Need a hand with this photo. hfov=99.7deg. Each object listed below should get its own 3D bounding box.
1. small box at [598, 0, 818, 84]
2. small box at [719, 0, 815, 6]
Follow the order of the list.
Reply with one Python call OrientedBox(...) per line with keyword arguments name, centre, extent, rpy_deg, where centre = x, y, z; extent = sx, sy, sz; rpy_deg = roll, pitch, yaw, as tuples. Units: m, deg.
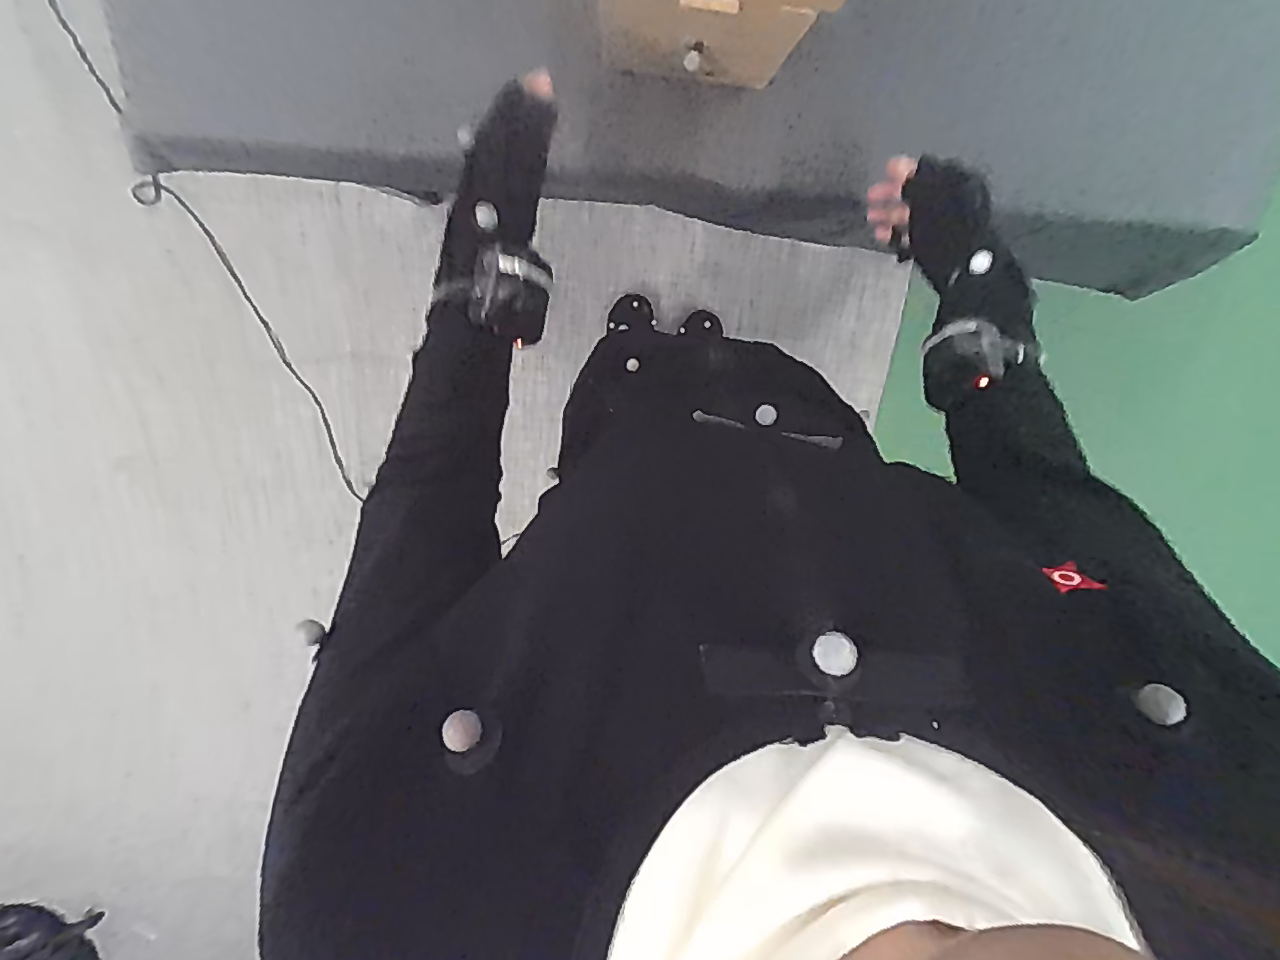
OrientedBox(name="small box", centre=(0.058, -0.455, 0.442), extent=(0.168, 0.176, 0.179), rpy_deg=(4, 111, -2))
OrientedBox(name="small box", centre=(0.065, -0.394, 0.288), extent=(0.179, 0.176, 0.168), rpy_deg=(5, 110, -1))
